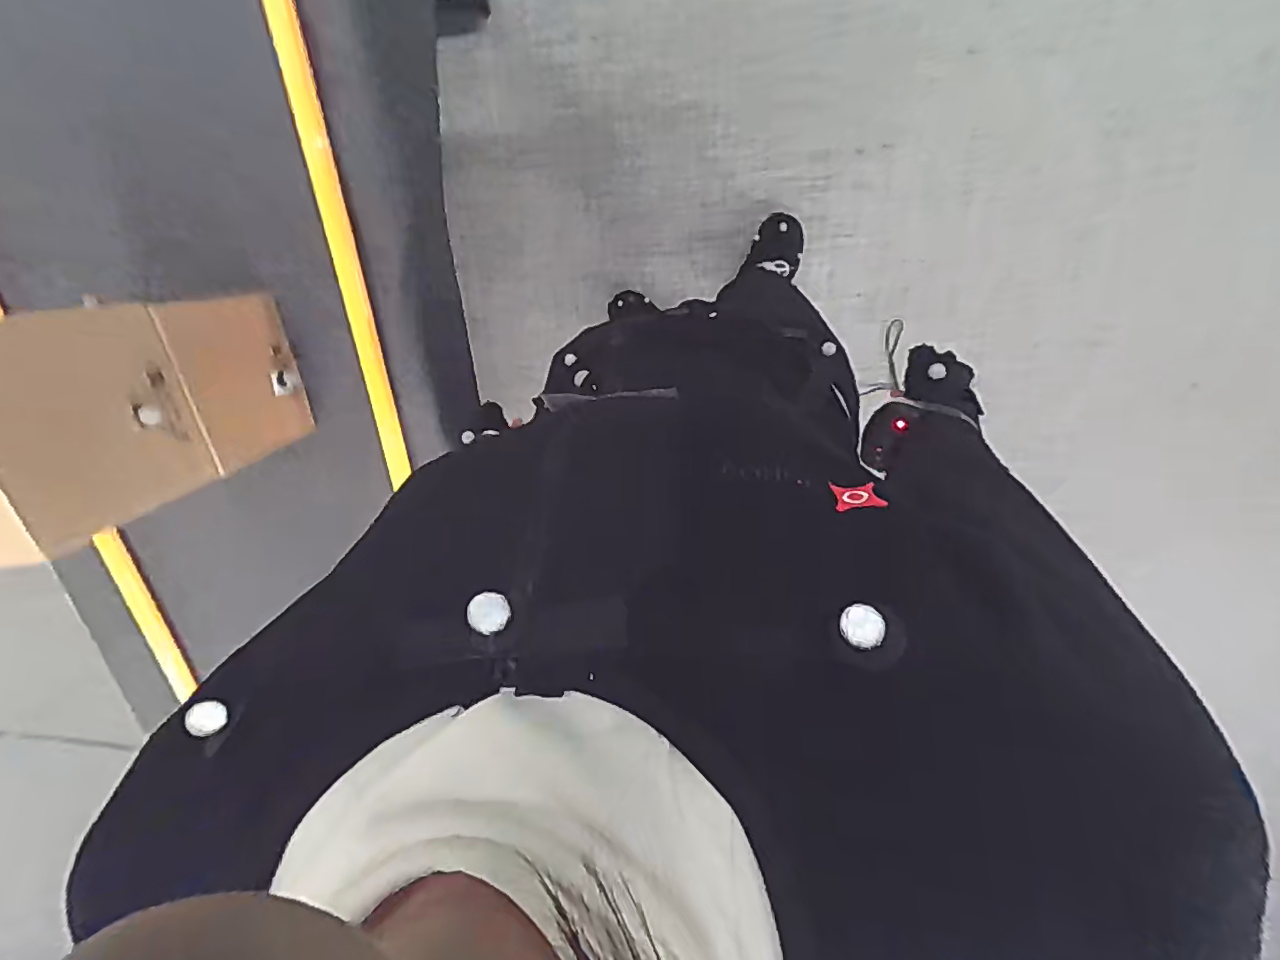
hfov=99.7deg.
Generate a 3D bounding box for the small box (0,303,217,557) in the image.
[{"bbox_3d":[-0.513,-0.047,0.442,0.179,0.176,0.168,-5,113,4],"label":"small box"}]

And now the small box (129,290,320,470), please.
[{"bbox_3d":[-0.503,-0.110,0.595,0.179,0.176,0.168,-6,113,4],"label":"small box"}]
